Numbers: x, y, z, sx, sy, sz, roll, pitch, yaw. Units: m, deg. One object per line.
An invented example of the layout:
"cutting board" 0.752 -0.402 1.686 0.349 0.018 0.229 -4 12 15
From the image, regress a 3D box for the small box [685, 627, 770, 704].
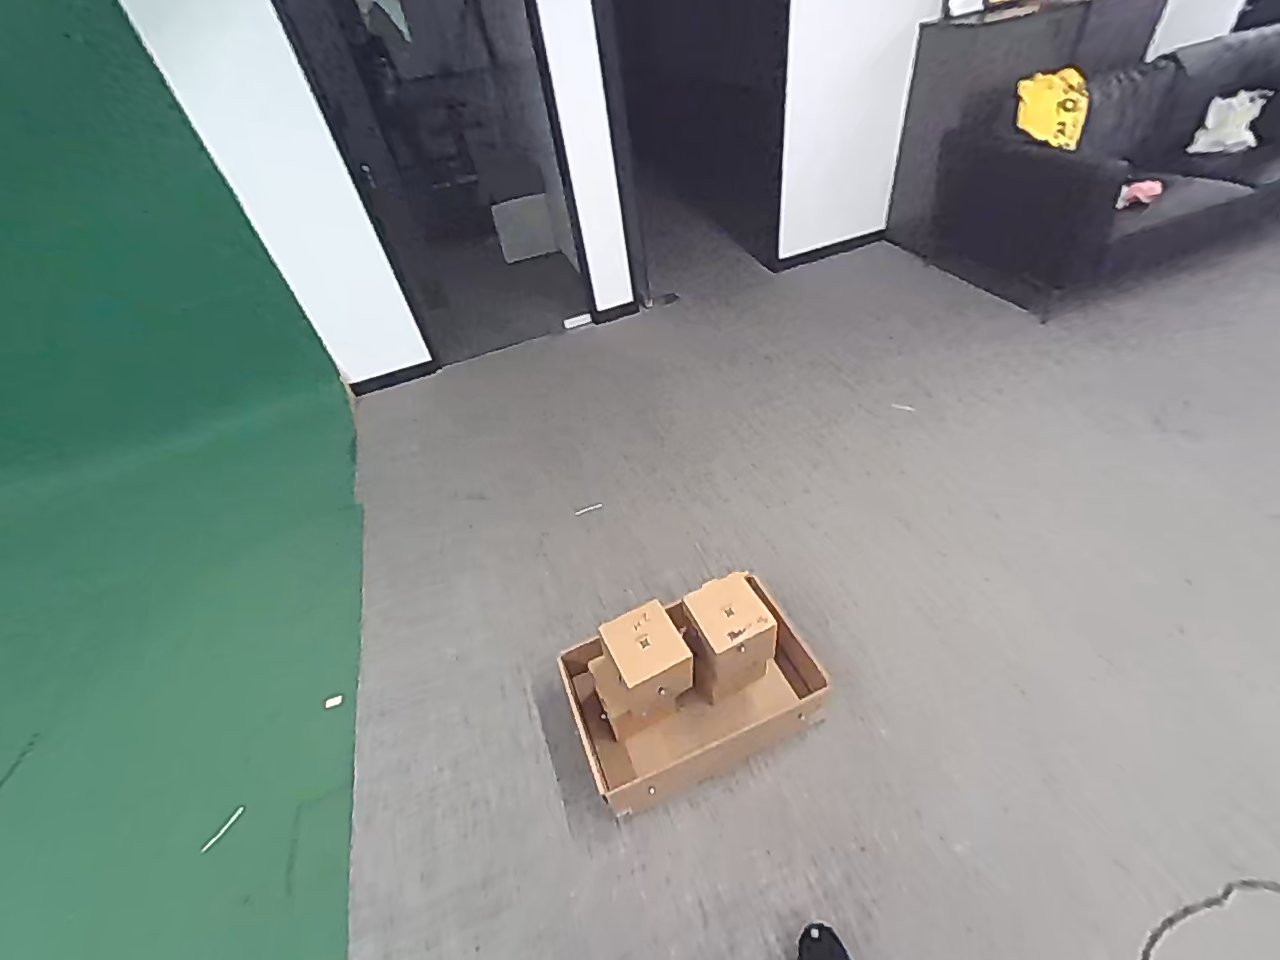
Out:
"small box" 0.244 0.476 1.477 0.179 0.176 0.168 -26 46 -14

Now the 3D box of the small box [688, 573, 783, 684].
"small box" 0.236 0.371 1.349 0.168 0.176 0.179 -24 45 -11

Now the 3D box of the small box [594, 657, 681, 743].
"small box" -0.002 0.563 1.437 0.179 0.176 0.168 -22 46 -14

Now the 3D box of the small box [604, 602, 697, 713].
"small box" 0.030 0.441 1.321 0.168 0.176 0.179 -23 46 -15
